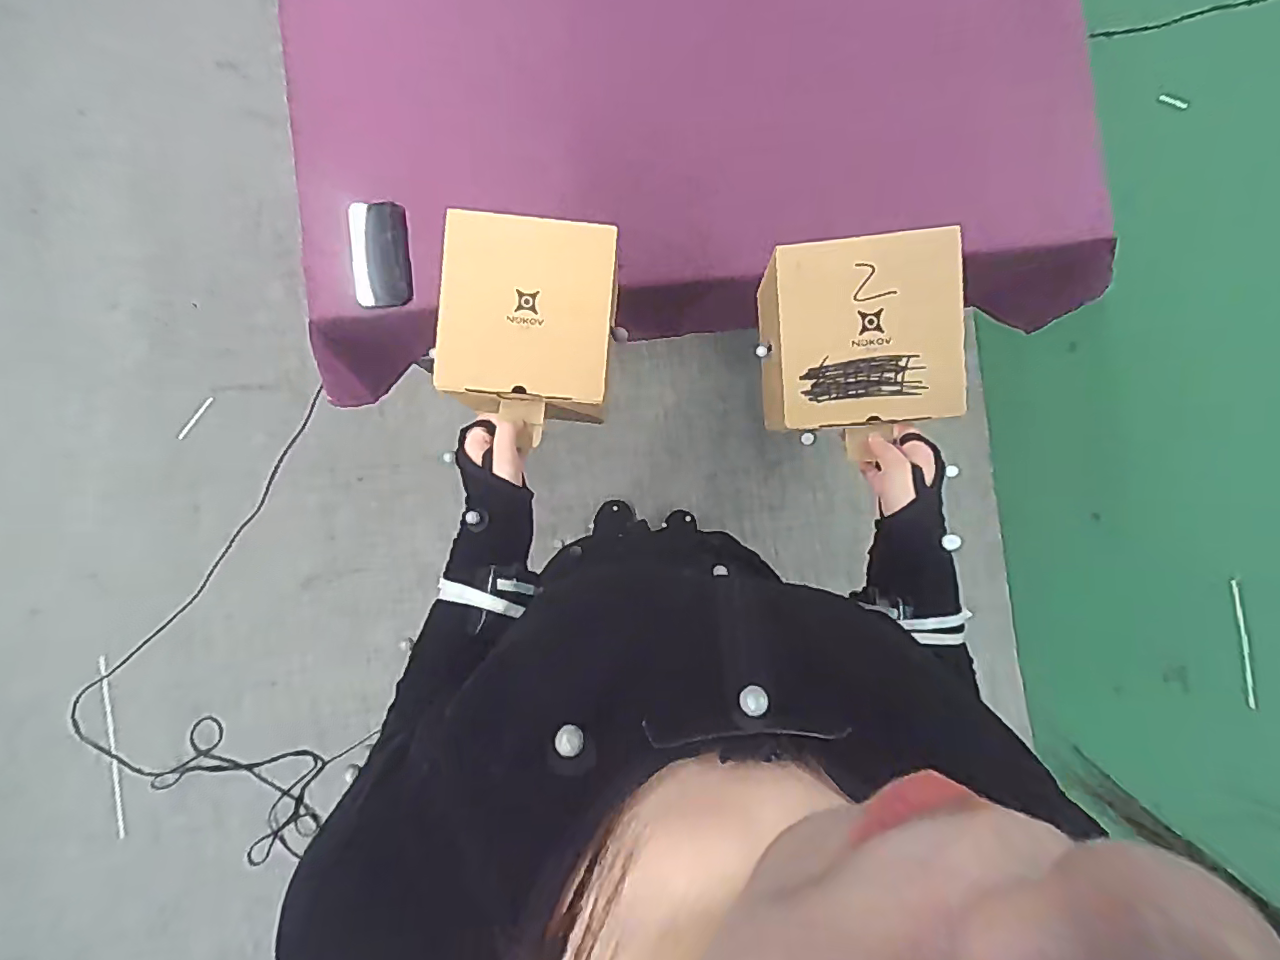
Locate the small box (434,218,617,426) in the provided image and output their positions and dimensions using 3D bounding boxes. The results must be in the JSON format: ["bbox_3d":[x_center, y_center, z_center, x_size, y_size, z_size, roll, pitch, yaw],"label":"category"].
[{"bbox_3d":[-0.117,-0.162,0.610,0.168,0.176,0.179,5,90,-3],"label":"small box"}]
